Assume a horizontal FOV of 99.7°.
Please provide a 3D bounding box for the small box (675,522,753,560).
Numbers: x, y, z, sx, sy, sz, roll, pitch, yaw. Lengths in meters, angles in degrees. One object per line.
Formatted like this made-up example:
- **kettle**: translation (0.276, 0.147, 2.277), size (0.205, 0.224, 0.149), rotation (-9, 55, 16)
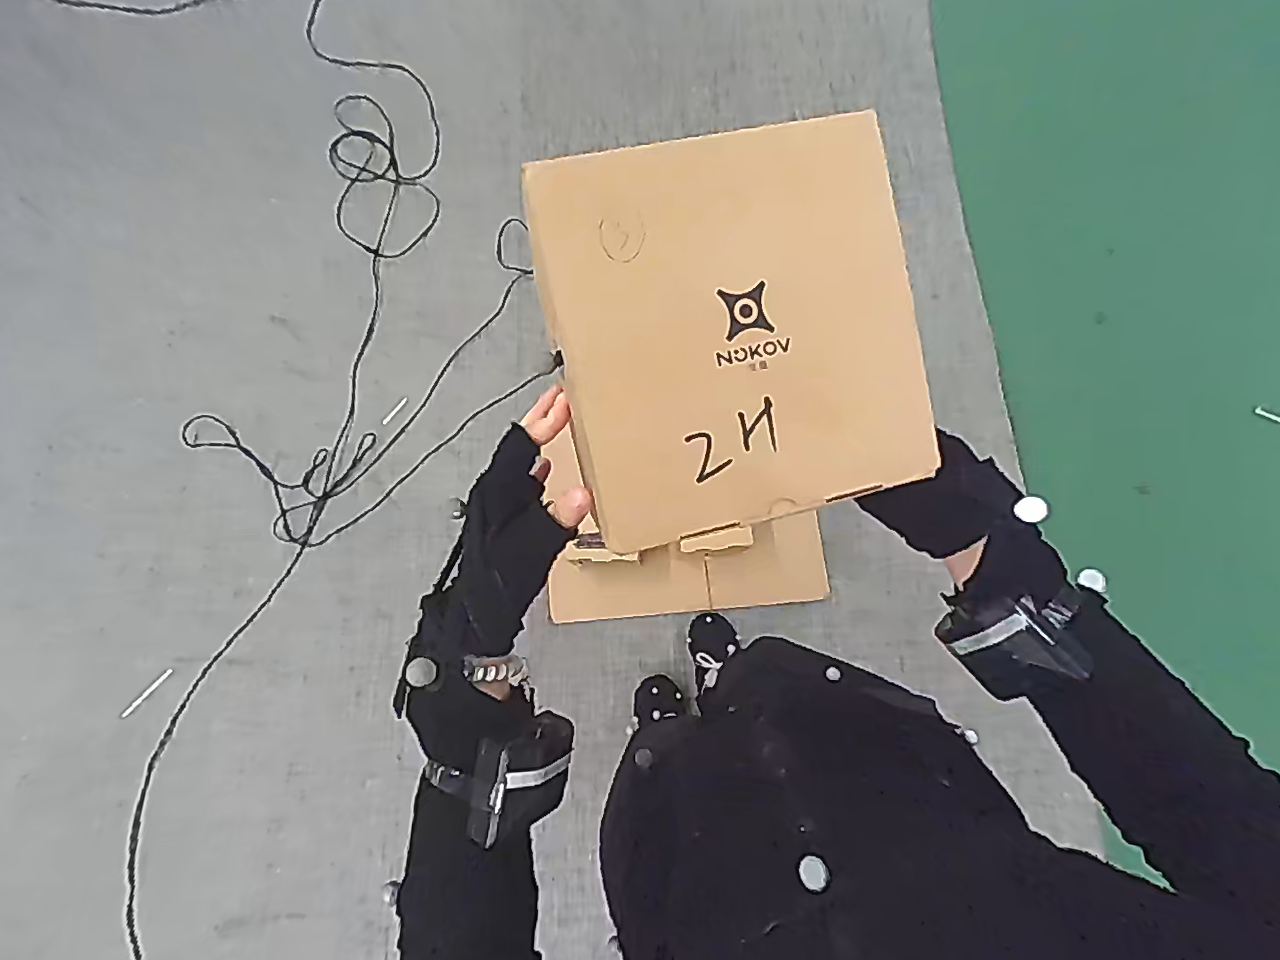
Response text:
- **small box**: translation (0.164, 0.092, 1.305), size (0.168, 0.176, 0.179), rotation (-6, 77, -2)

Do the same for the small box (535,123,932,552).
- **small box**: translation (0.036, -0.071, 0.329), size (0.168, 0.176, 0.179), rotation (-14, 95, -7)
